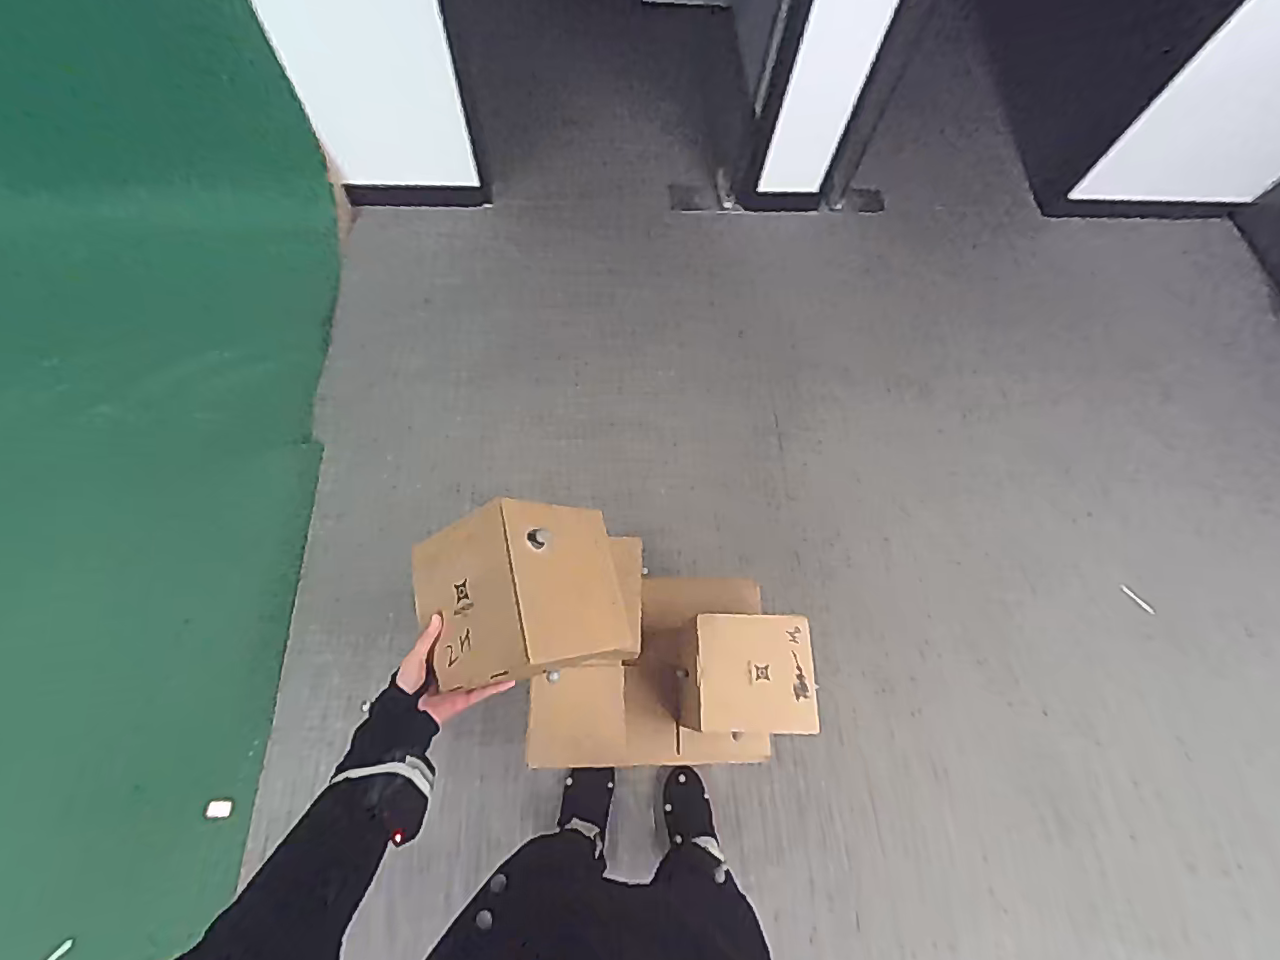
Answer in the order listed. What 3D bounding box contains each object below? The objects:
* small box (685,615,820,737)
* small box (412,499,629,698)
[{"bbox_3d":[0.166,0.312,0.860,0.179,0.176,0.168,2,69,-3],"label":"small box"},{"bbox_3d":[-0.139,0.138,0.636,0.168,0.176,0.179,-28,68,32],"label":"small box"}]
